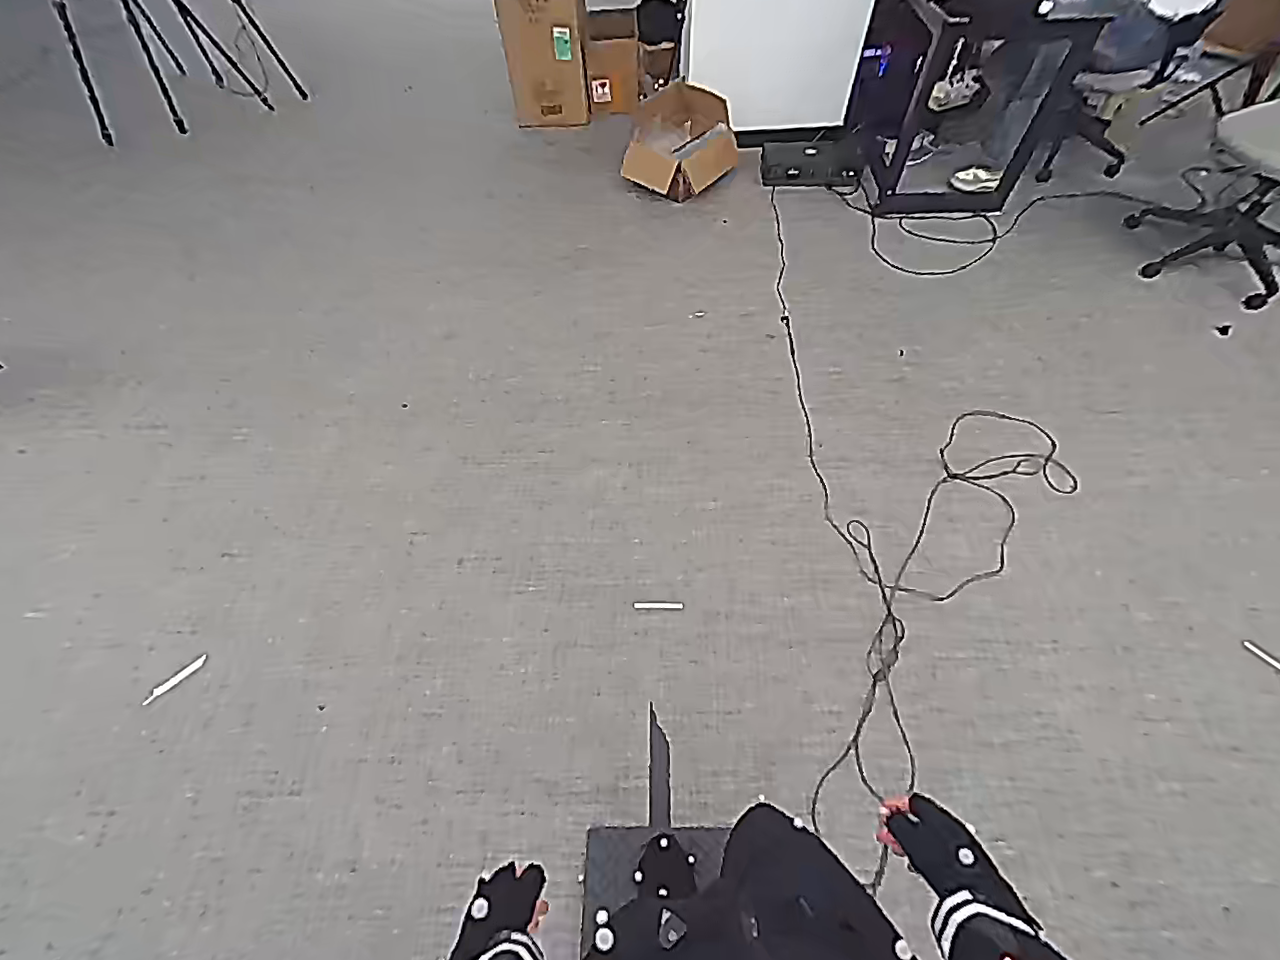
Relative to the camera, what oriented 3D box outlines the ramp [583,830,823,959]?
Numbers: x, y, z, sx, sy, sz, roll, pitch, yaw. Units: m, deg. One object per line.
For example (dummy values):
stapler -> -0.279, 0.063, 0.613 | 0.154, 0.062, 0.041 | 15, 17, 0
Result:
ramp -> 0.124, 1.174, 0.906 | 0.509, 0.206, 0.991 | -3, 57, 2
